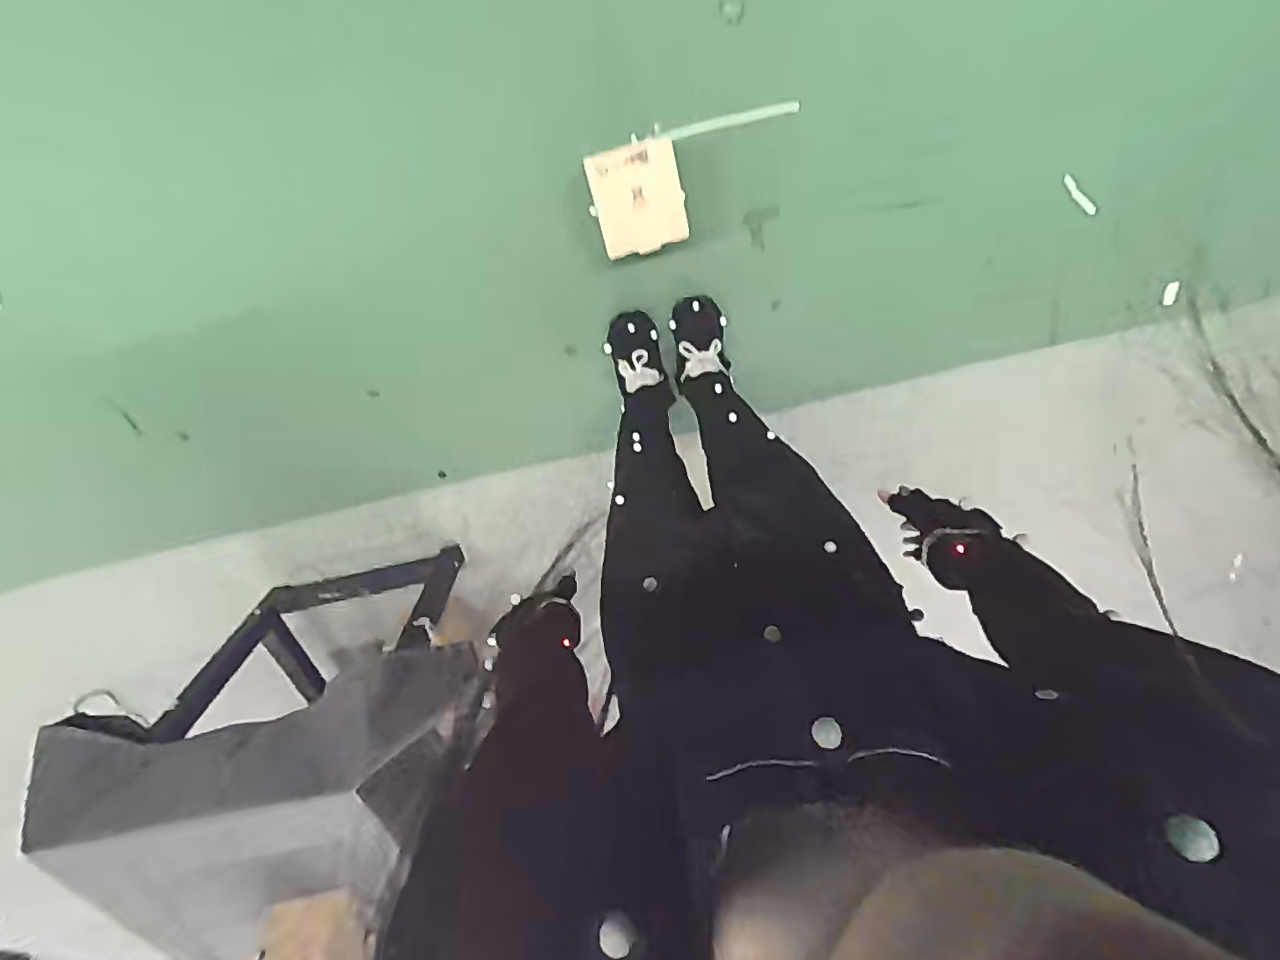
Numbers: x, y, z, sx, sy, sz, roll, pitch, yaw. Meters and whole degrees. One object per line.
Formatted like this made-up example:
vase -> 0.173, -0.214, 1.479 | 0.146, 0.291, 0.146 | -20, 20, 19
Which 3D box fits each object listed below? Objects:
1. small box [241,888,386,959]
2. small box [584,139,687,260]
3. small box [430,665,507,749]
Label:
small box -> -0.606, 0.890, 0.990 | 0.179, 0.176, 0.168 | -15, 118, 5
small box -> -0.007, -0.560, 1.082 | 0.168, 0.176, 0.179 | -13, 119, 4
small box -> -0.539, 0.714, 1.721 | 0.168, 0.176, 0.179 | -14, 119, 4
